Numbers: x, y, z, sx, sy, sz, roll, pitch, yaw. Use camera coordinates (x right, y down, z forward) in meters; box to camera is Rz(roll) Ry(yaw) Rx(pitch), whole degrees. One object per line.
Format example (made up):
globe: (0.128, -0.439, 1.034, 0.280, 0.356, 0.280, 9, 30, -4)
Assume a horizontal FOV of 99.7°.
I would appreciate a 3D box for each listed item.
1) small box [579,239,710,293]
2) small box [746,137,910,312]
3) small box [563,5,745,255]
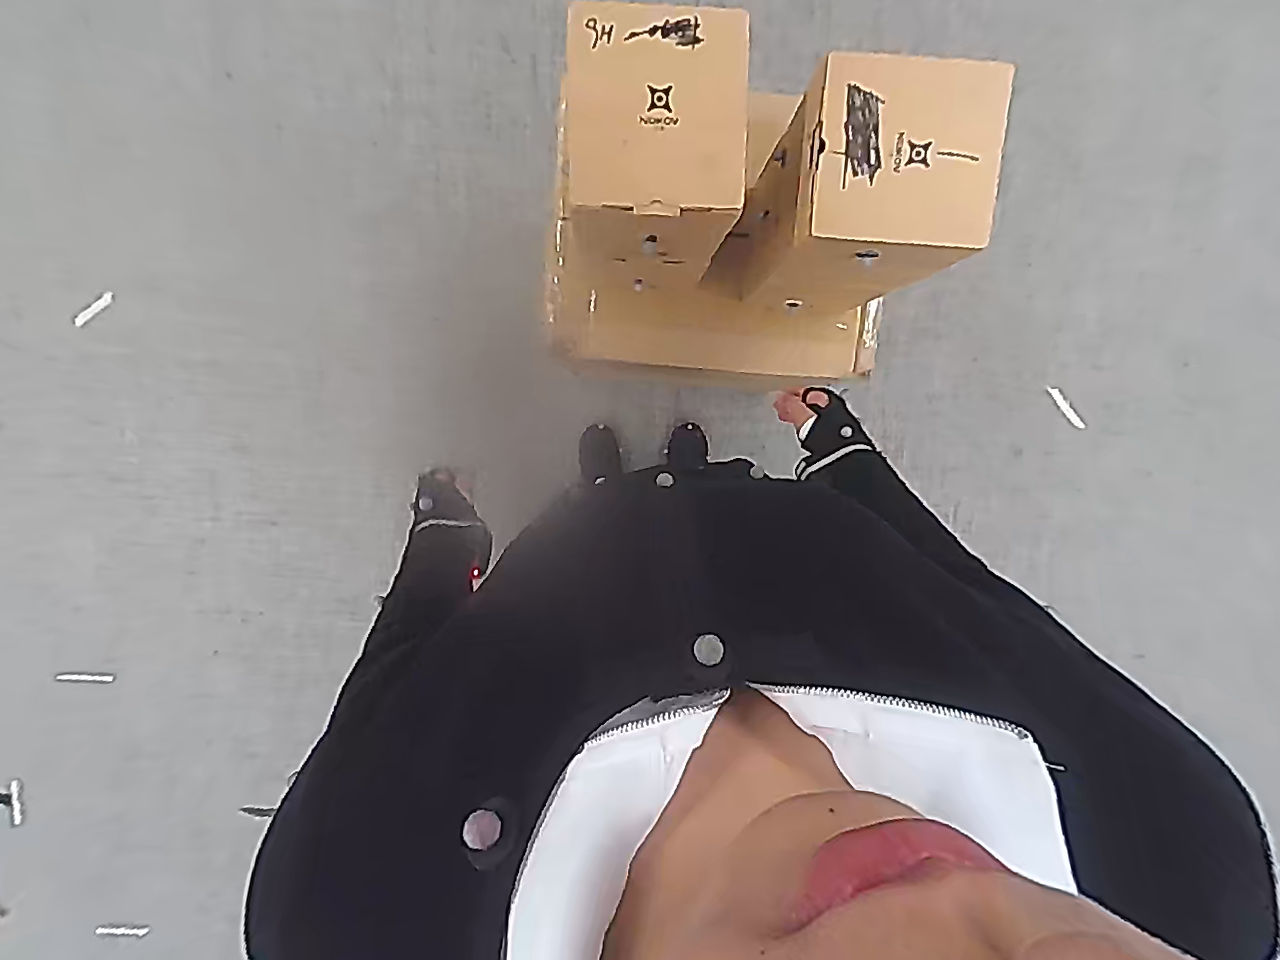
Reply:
small box: (0.005, -0.369, 0.741, 0.168, 0.176, 0.179, 2, 97, -3)
small box: (0.247, -0.342, 0.754, 0.168, 0.176, 0.179, 3, 99, 1)
small box: (0.010, -0.350, 0.578, 0.168, 0.176, 0.179, 1, 98, -2)
